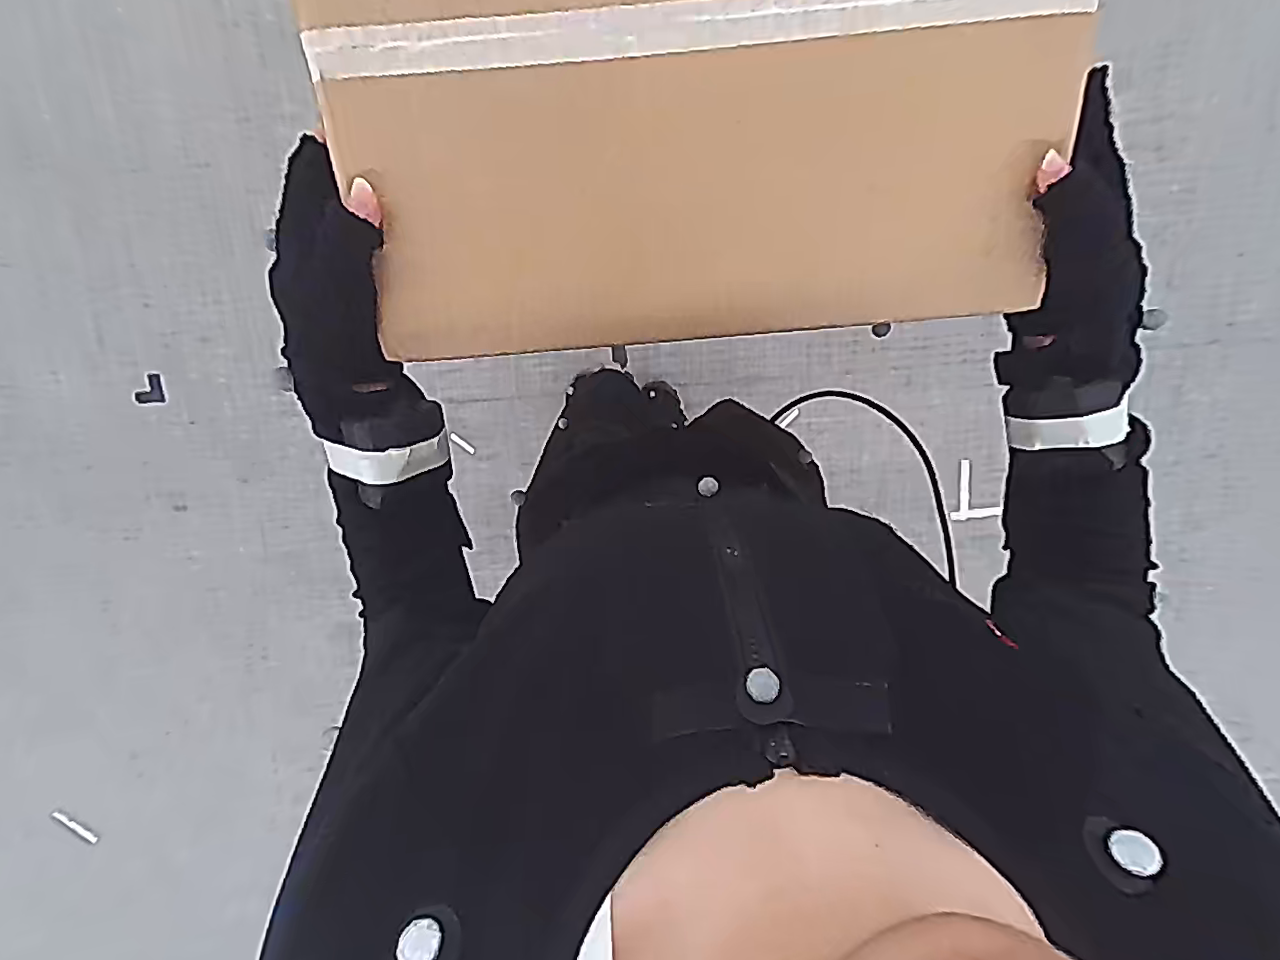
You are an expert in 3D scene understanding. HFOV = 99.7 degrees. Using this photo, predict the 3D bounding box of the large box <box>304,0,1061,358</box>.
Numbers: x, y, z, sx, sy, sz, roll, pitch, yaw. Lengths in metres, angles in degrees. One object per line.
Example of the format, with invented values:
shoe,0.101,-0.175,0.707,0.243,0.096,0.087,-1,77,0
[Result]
large box,0.024,-0.294,0.424,0.408,0.320,0.320,-5,111,0
